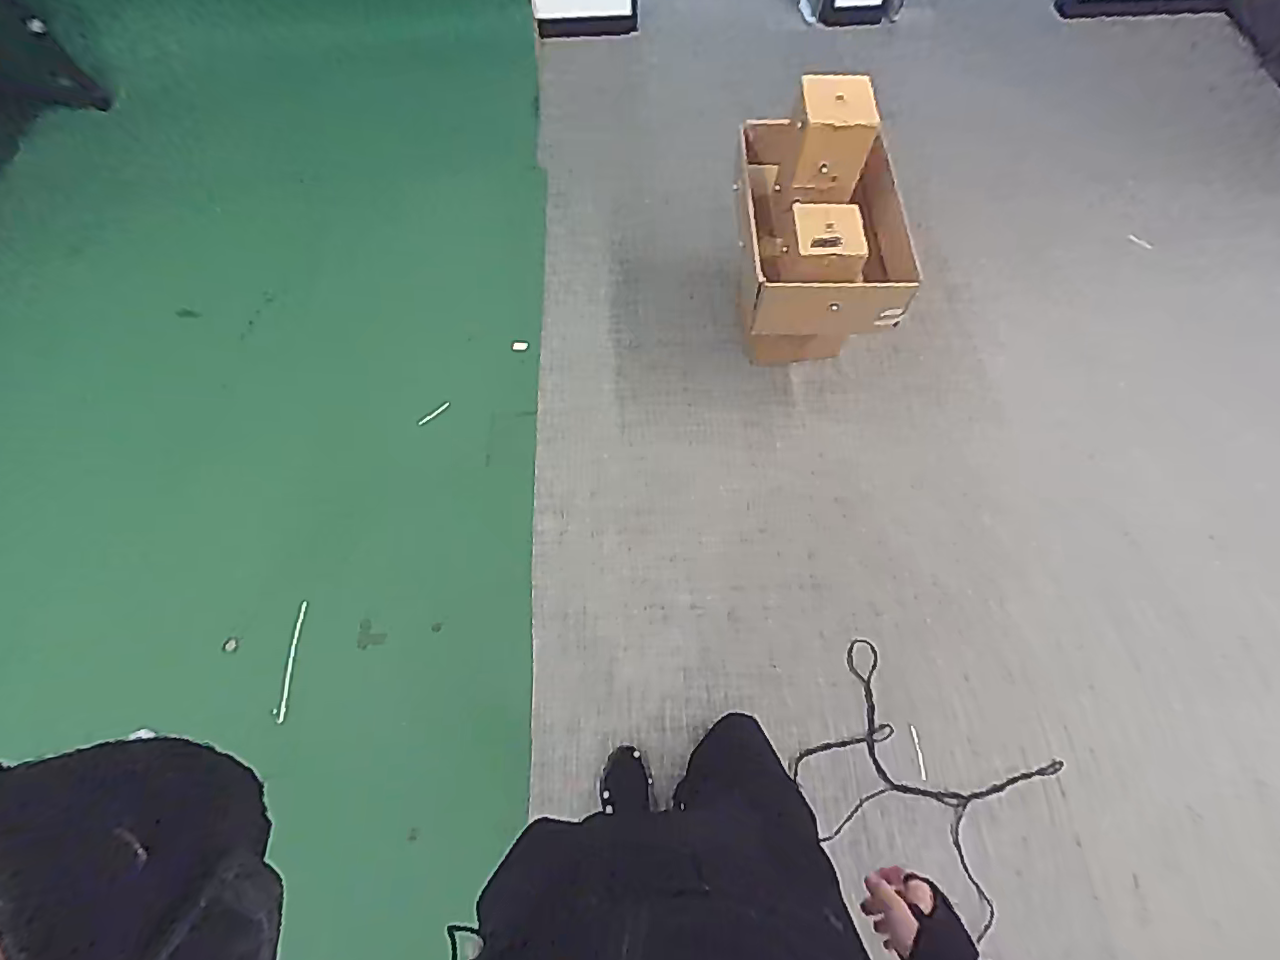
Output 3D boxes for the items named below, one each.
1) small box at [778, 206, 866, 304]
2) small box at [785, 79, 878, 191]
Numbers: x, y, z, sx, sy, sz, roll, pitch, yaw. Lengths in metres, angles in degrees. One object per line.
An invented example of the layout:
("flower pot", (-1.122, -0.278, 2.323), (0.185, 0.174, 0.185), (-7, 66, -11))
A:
("small box", (0.461, -0.576, 1.397), (0.168, 0.176, 0.179), (1, 65, 0))
("small box", (0.467, -0.856, 1.347), (0.168, 0.176, 0.179), (0, 68, 0))
